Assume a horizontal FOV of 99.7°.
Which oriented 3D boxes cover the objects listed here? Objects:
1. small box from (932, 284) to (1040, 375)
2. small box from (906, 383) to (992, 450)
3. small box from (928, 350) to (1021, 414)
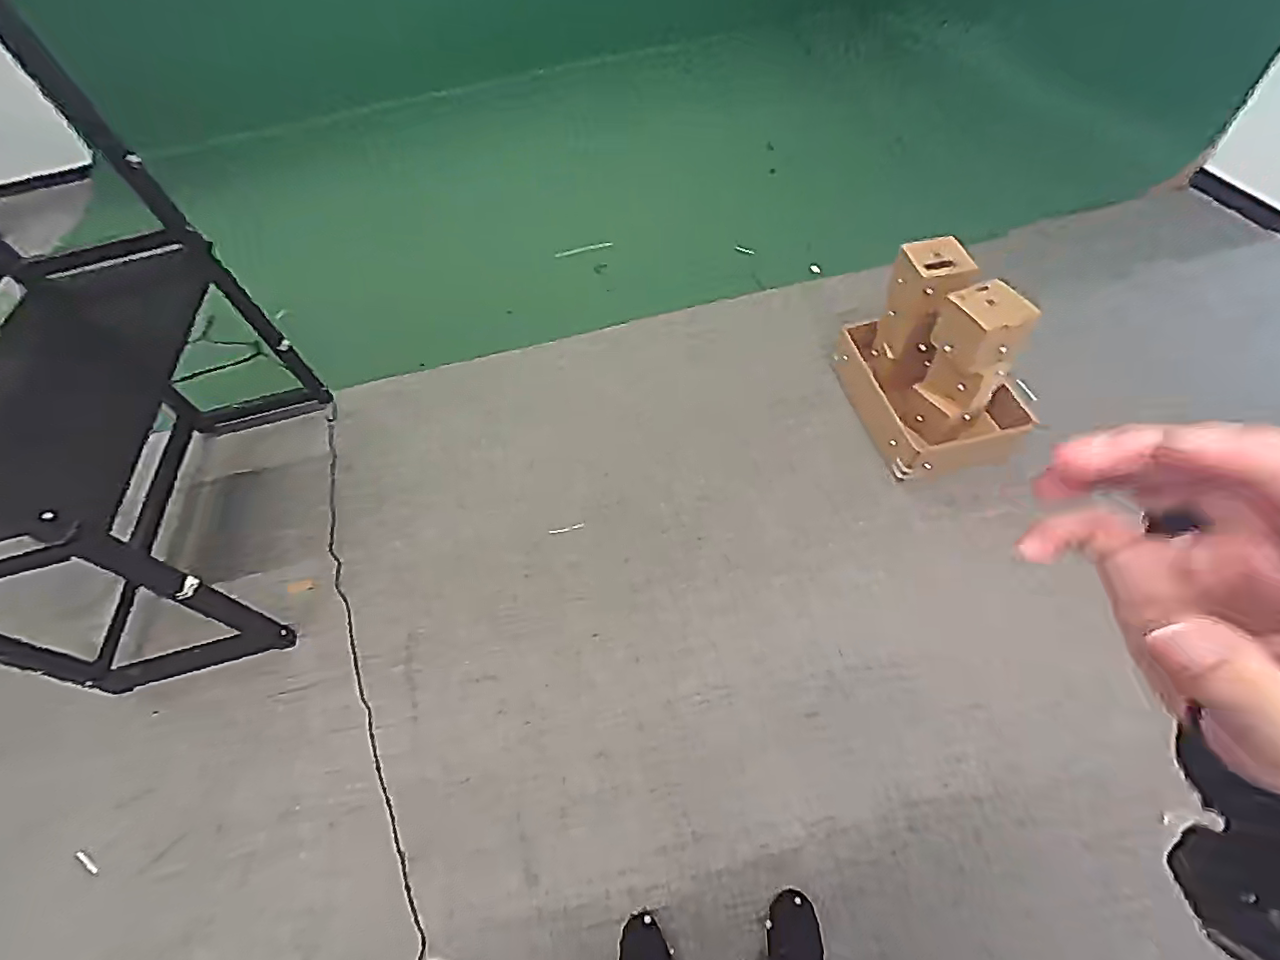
[{"bbox_3d":[0.987,-0.426,1.561,0.168,0.176,0.179,-19,55,-5],"label":"small box"},{"bbox_3d":[1.026,-0.229,1.818,0.179,0.176,0.168,-26,54,-10],"label":"small box"},{"bbox_3d":[1.034,-0.337,1.692,0.179,0.176,0.168,-35,57,-16],"label":"small box"}]
